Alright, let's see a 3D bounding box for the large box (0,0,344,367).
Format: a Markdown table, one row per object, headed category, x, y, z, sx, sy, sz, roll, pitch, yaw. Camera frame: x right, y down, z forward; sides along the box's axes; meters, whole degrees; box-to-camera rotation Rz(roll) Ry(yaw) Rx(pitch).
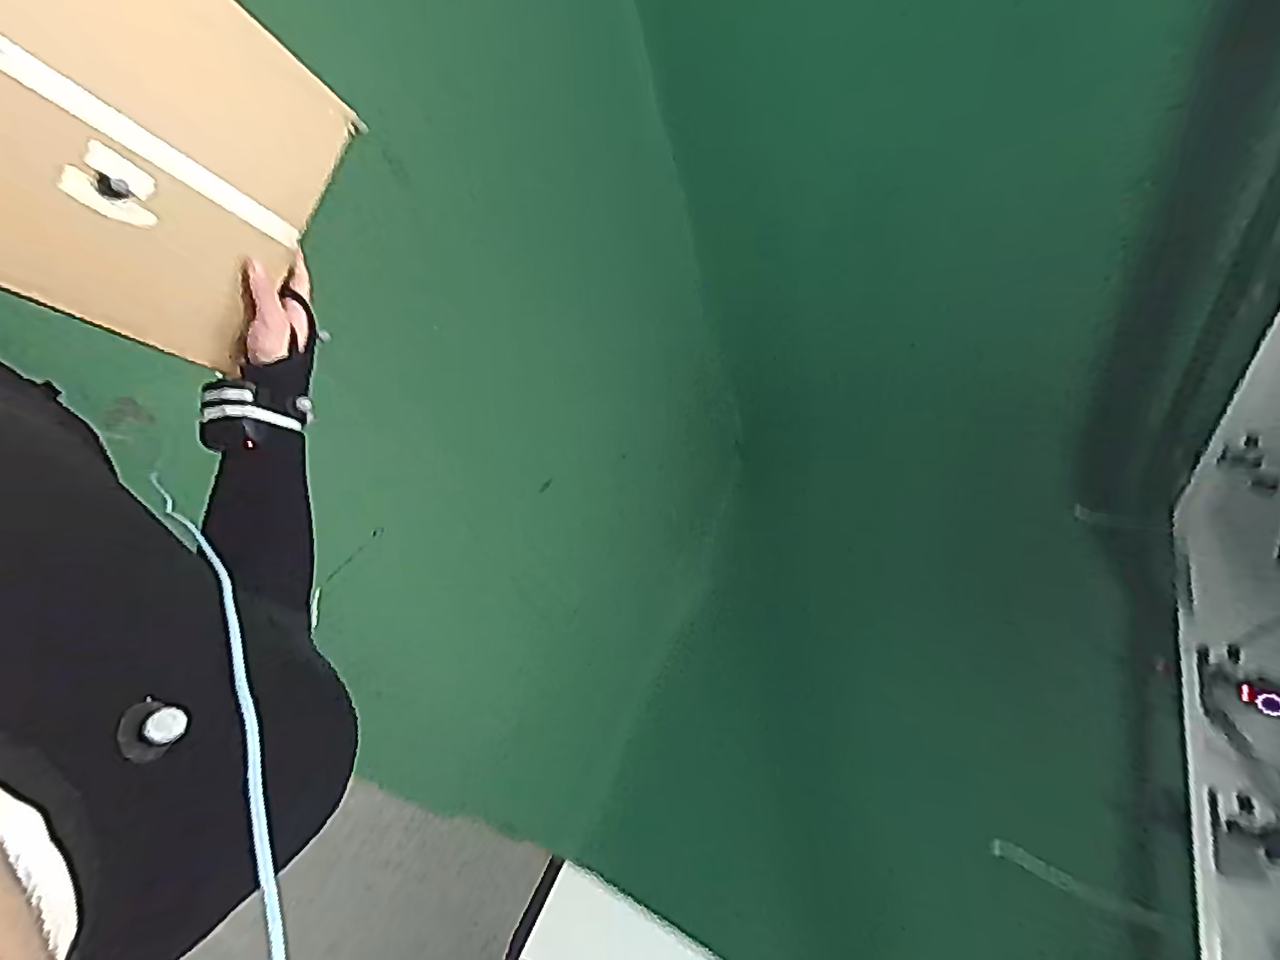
| category | x | y | z | sx | sy | sz | roll | pitch | yaw |
| --- | --- | --- | --- | --- | --- | --- | --- | --- | --- |
| large box | -0.588 | -0.343 | 0.488 | 0.408 | 0.320 | 0.320 | 30 | 80 | -58 |
